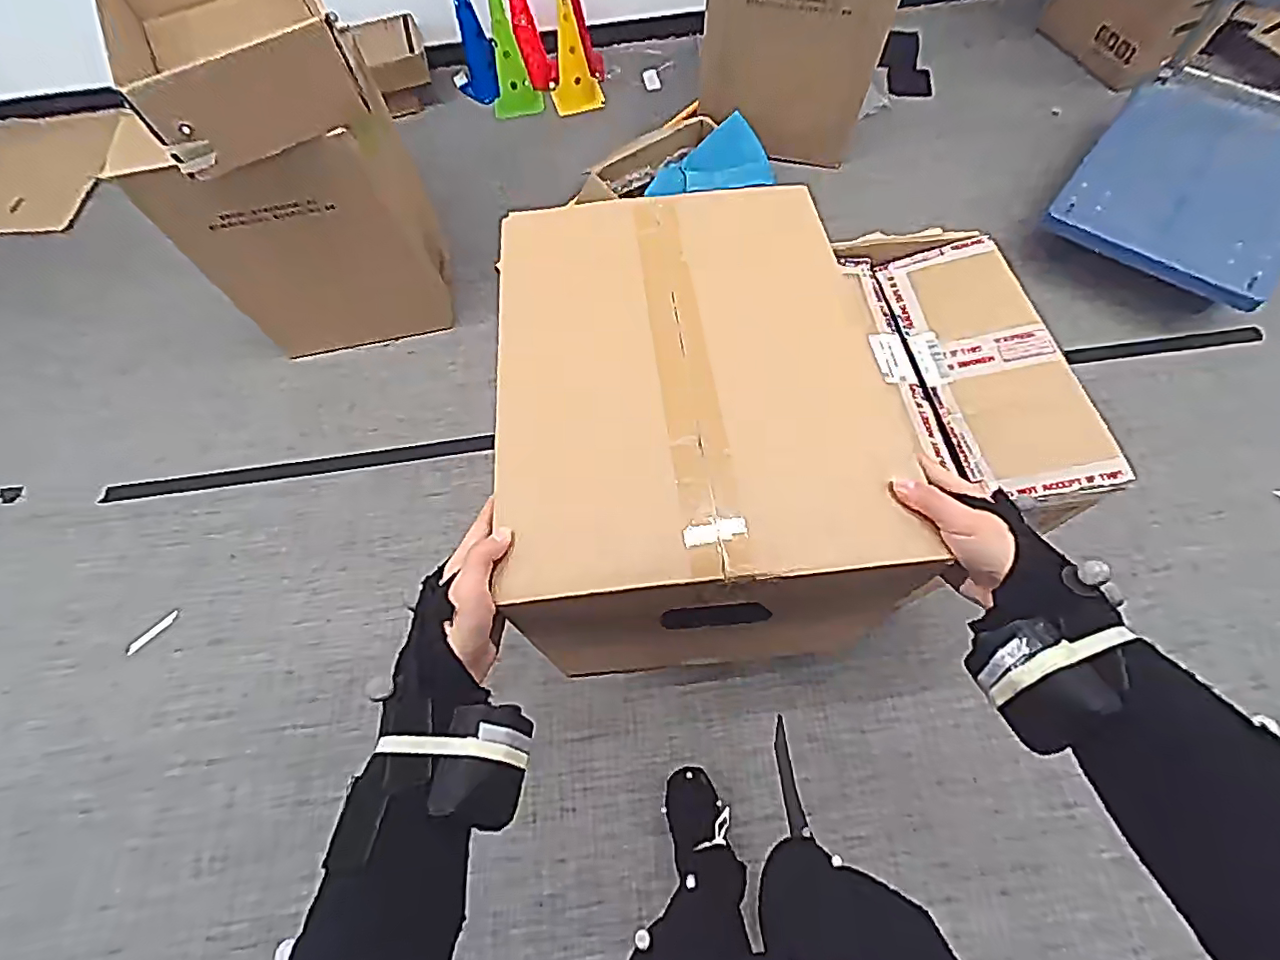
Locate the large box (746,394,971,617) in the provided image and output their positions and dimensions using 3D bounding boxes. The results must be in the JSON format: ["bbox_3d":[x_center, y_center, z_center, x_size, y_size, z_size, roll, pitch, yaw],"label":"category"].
[{"bbox_3d":[0.457,0.069,1.242,0.320,0.320,0.408,-8,65,-1],"label":"large box"}]
